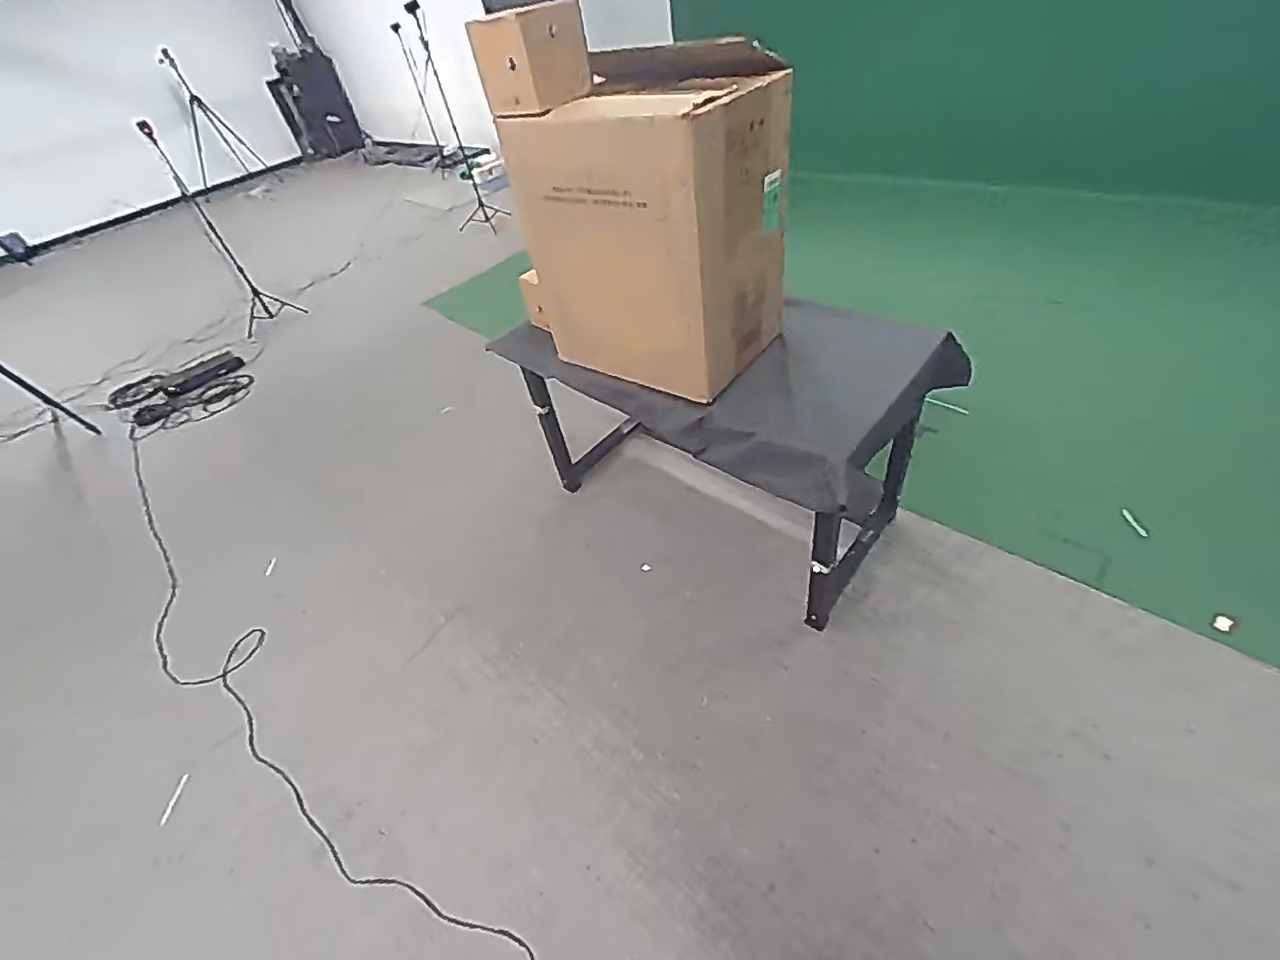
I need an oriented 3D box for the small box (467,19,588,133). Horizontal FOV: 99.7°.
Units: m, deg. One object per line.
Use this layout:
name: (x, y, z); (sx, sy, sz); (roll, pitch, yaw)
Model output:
small box: (-0.236, -0.877, 1.184); (0.168, 0.176, 0.179); (23, 52, 33)
